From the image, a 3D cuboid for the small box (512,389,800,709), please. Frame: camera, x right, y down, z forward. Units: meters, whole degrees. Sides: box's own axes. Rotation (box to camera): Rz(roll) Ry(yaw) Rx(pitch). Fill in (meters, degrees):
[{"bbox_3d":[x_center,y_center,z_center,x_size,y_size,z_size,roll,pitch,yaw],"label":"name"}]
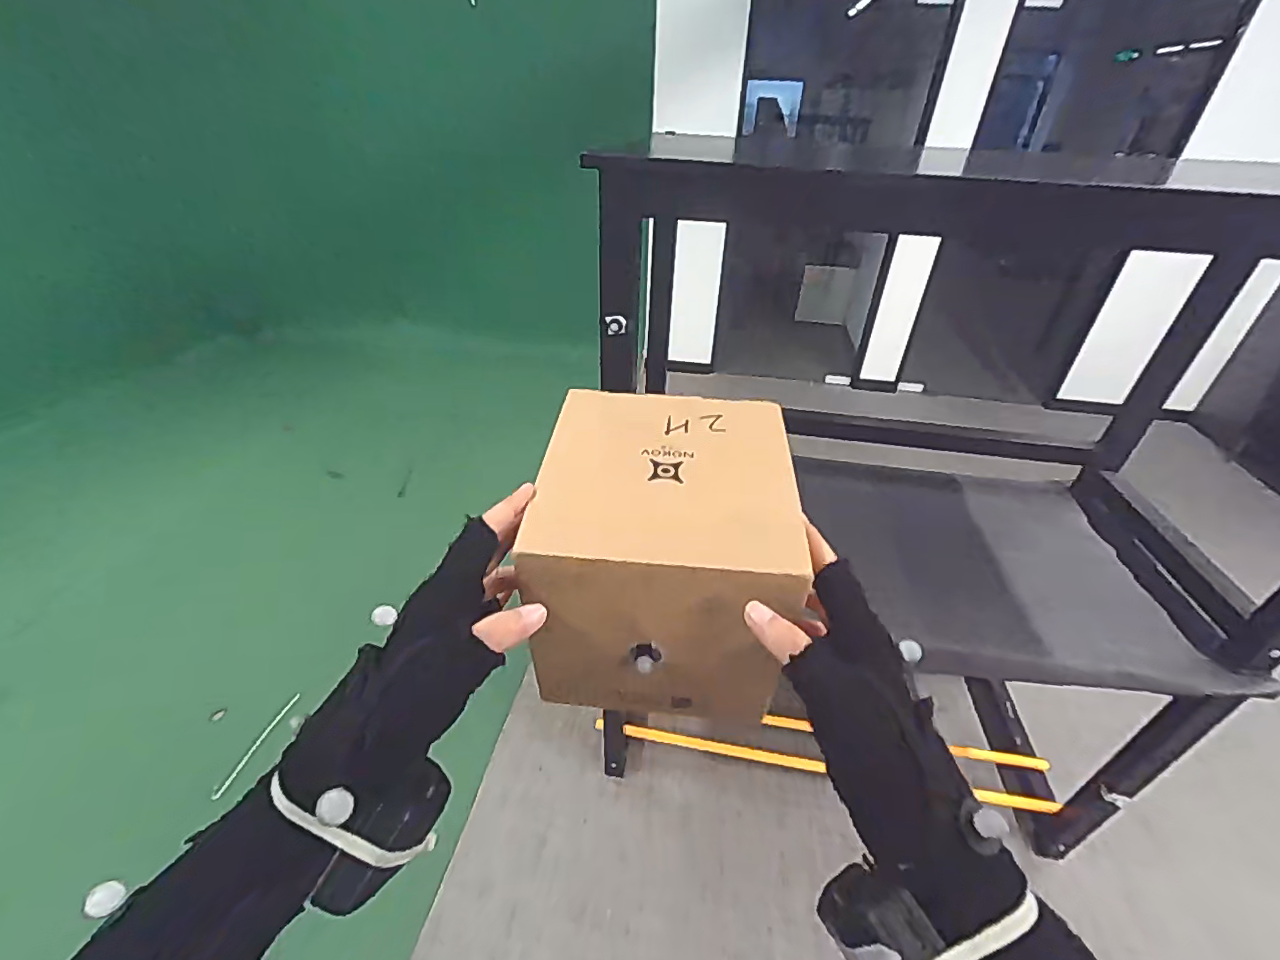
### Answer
[{"bbox_3d":[0.016,0.050,0.412,0.168,0.176,0.179,5,40,3],"label":"small box"}]
